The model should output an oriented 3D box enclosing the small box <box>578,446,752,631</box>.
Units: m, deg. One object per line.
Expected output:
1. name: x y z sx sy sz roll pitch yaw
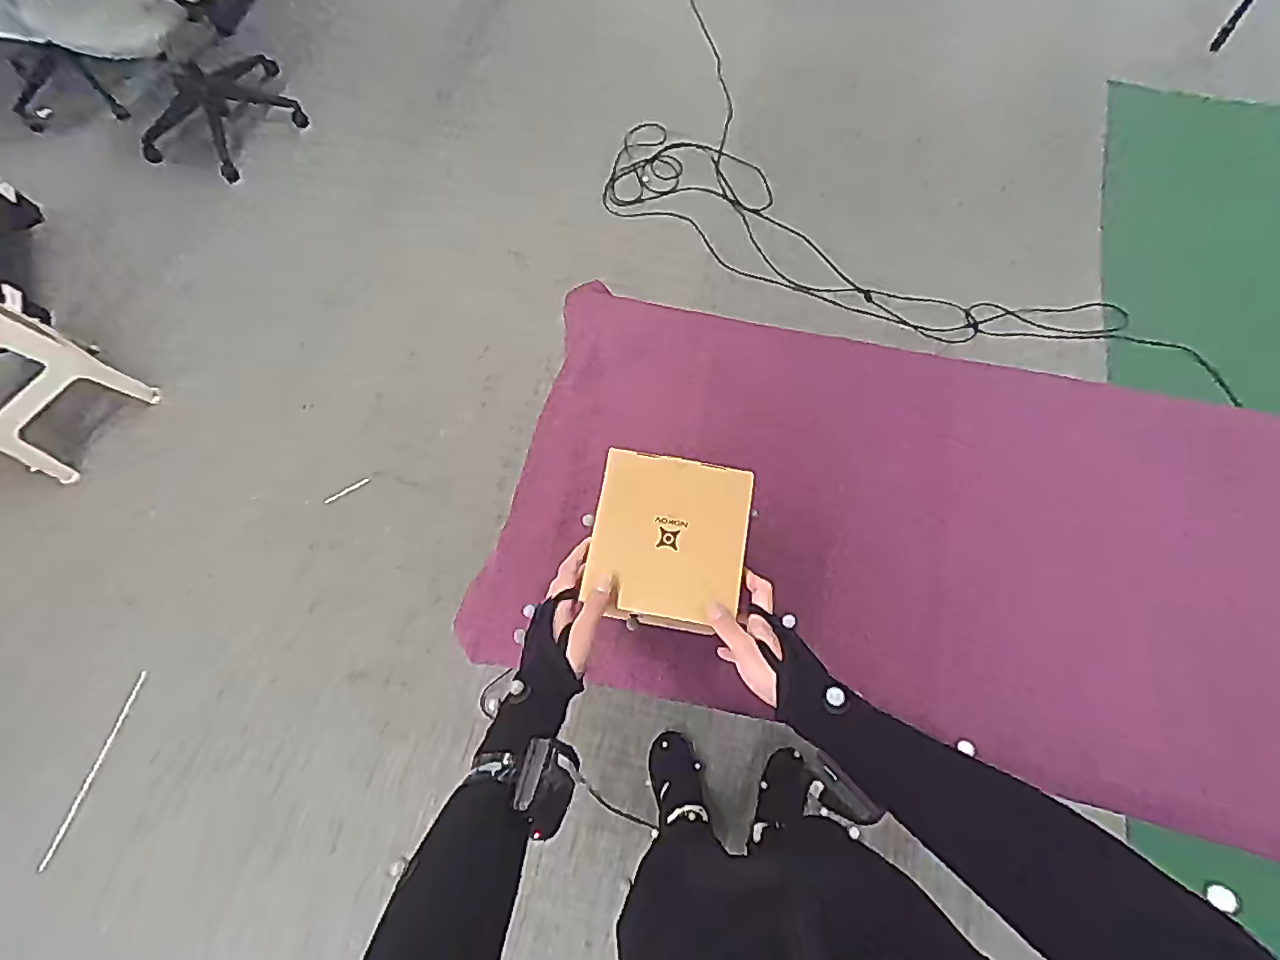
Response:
1. small box: 0.031 0.080 0.656 0.168 0.176 0.179 10 71 3
